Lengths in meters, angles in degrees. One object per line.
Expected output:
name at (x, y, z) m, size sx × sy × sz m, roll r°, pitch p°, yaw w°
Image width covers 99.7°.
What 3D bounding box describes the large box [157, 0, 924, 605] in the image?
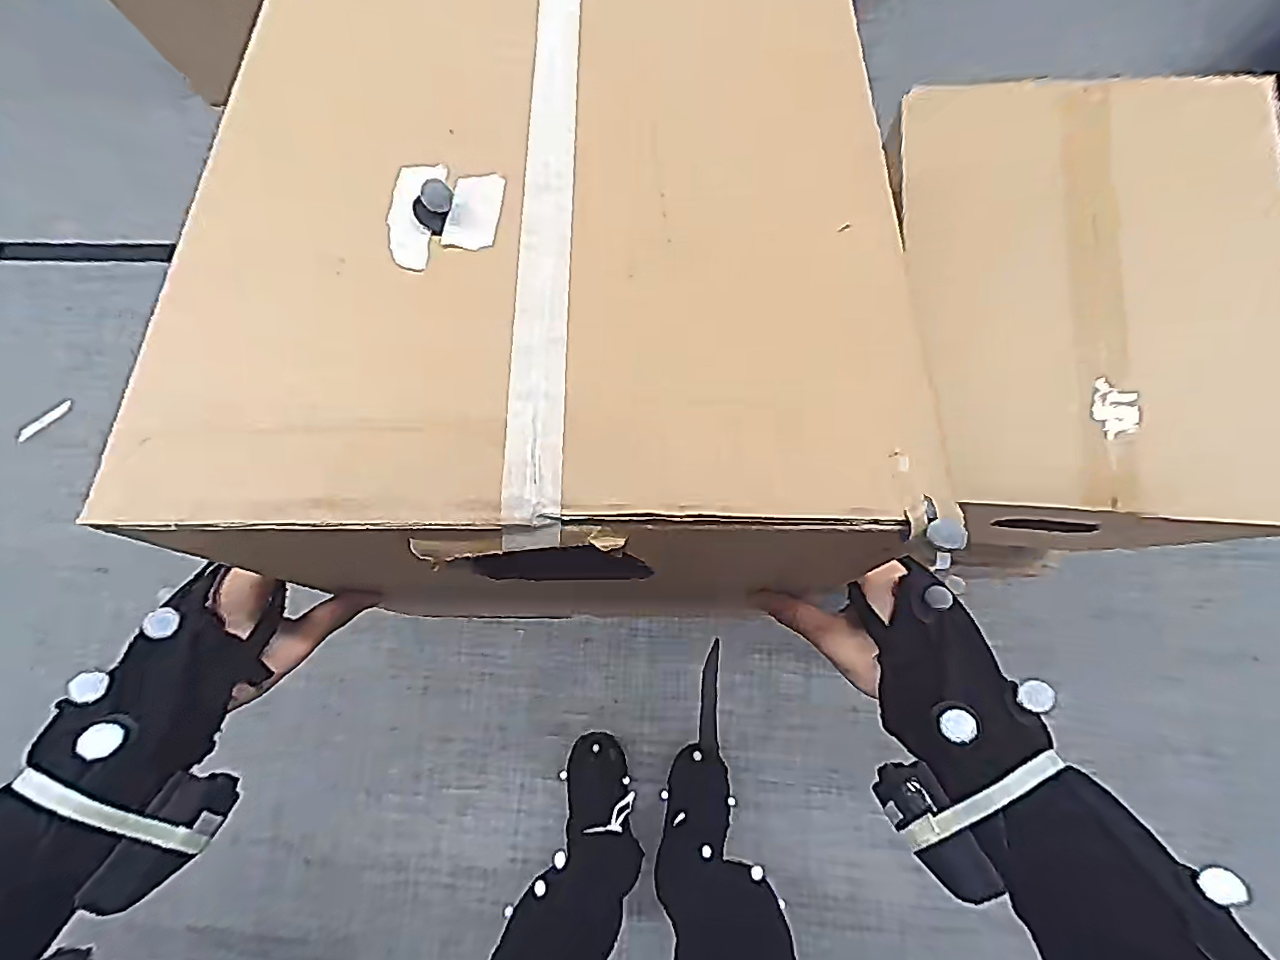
large box at (-0.048, -0.124, 0.418) m, size 0.320 × 0.320 × 0.408 m, roll -1°, pitch 71°, yaw -1°
